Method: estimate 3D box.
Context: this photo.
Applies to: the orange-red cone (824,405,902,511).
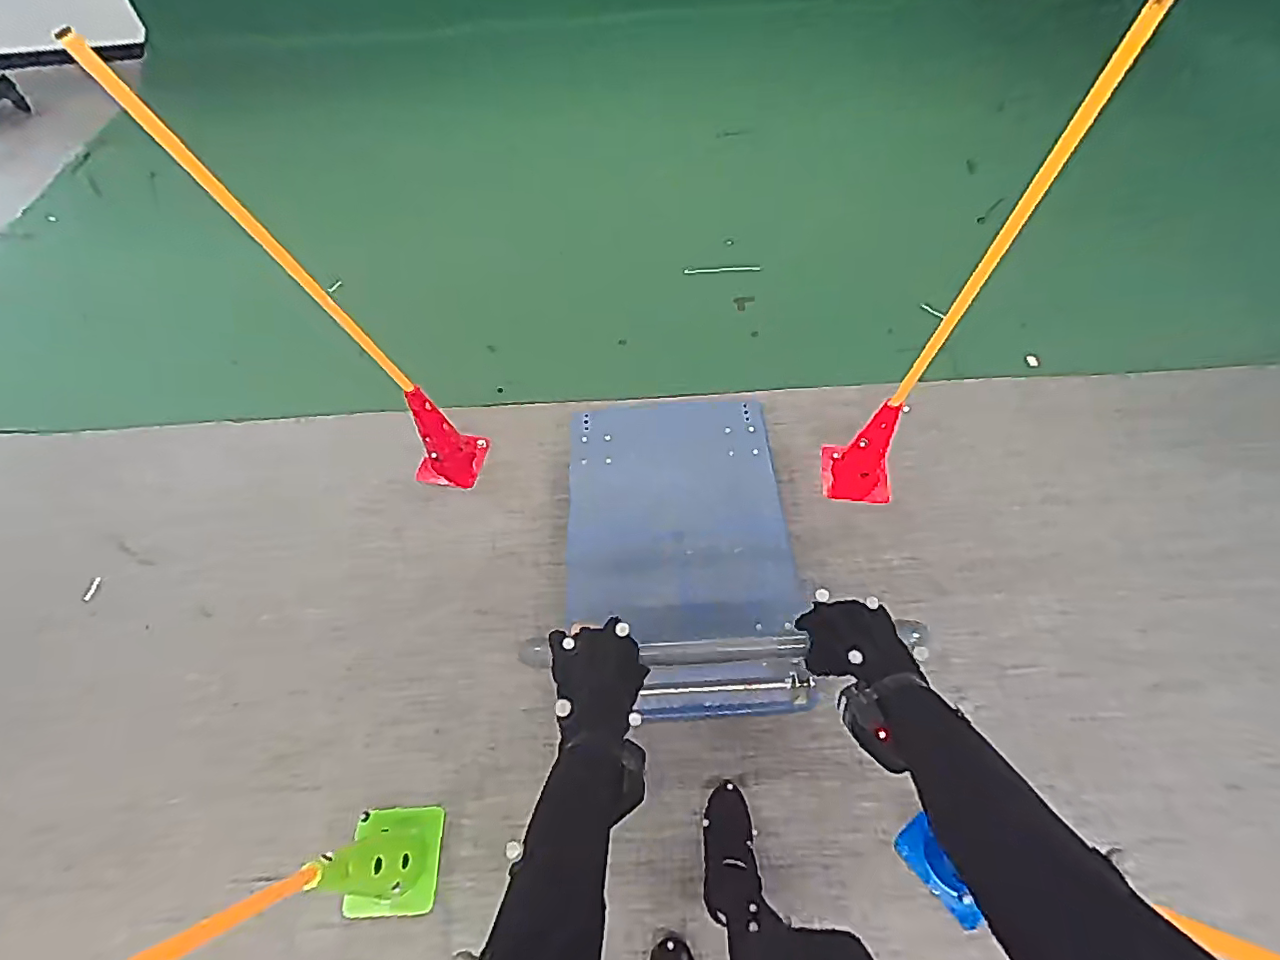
[{"bbox_3d":[0.669,-0.086,1.544,0.198,0.360,0.199,6,59,7],"label":"orange-red cone"}]
